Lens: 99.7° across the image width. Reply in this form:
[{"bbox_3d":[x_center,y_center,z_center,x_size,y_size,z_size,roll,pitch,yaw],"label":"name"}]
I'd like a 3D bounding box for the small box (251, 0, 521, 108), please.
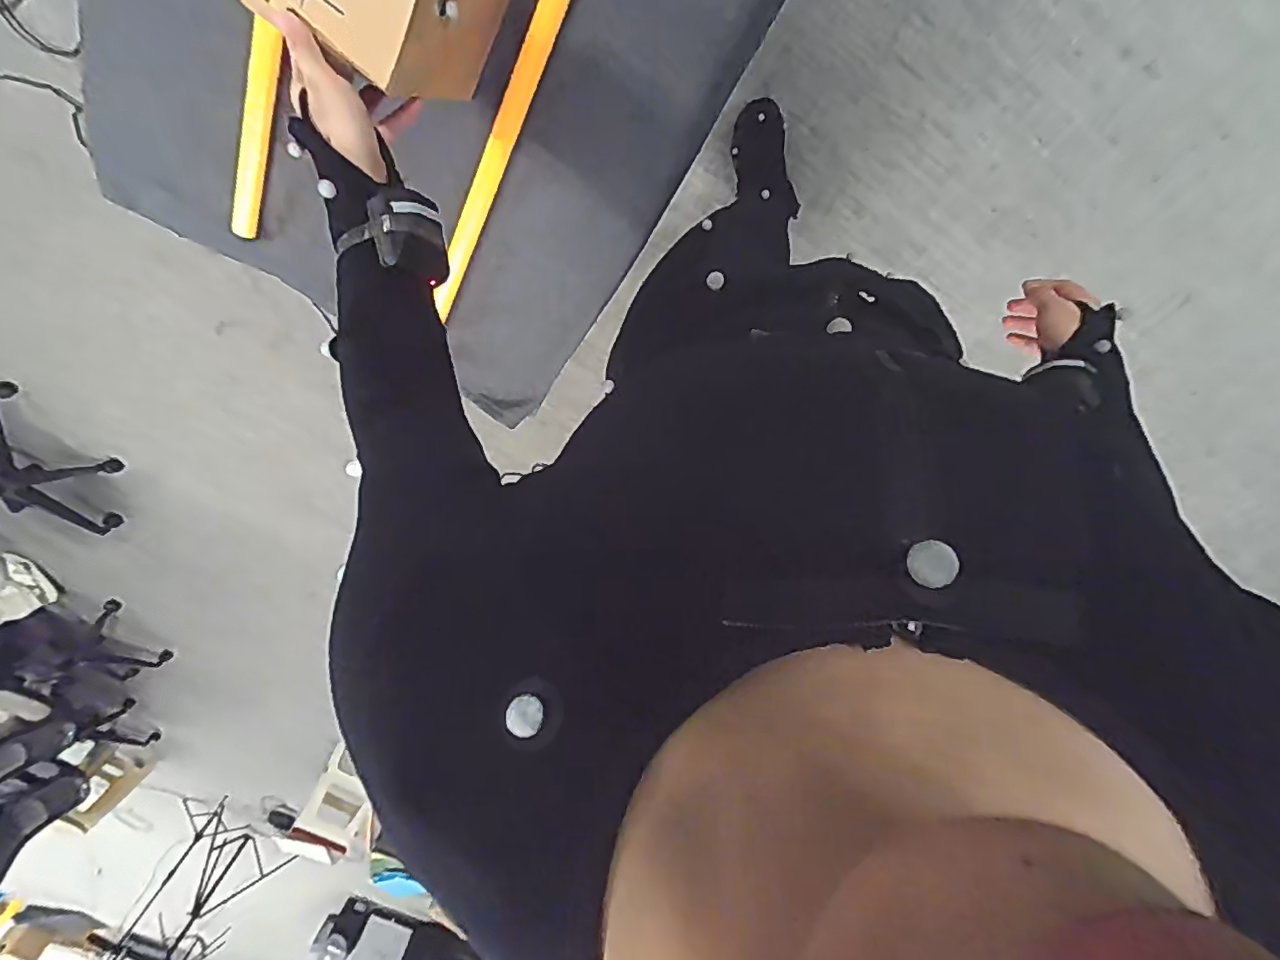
[{"bbox_3d":[-0.203,-0.444,0.445,0.168,0.176,0.179,33,122,-12],"label":"small box"}]
